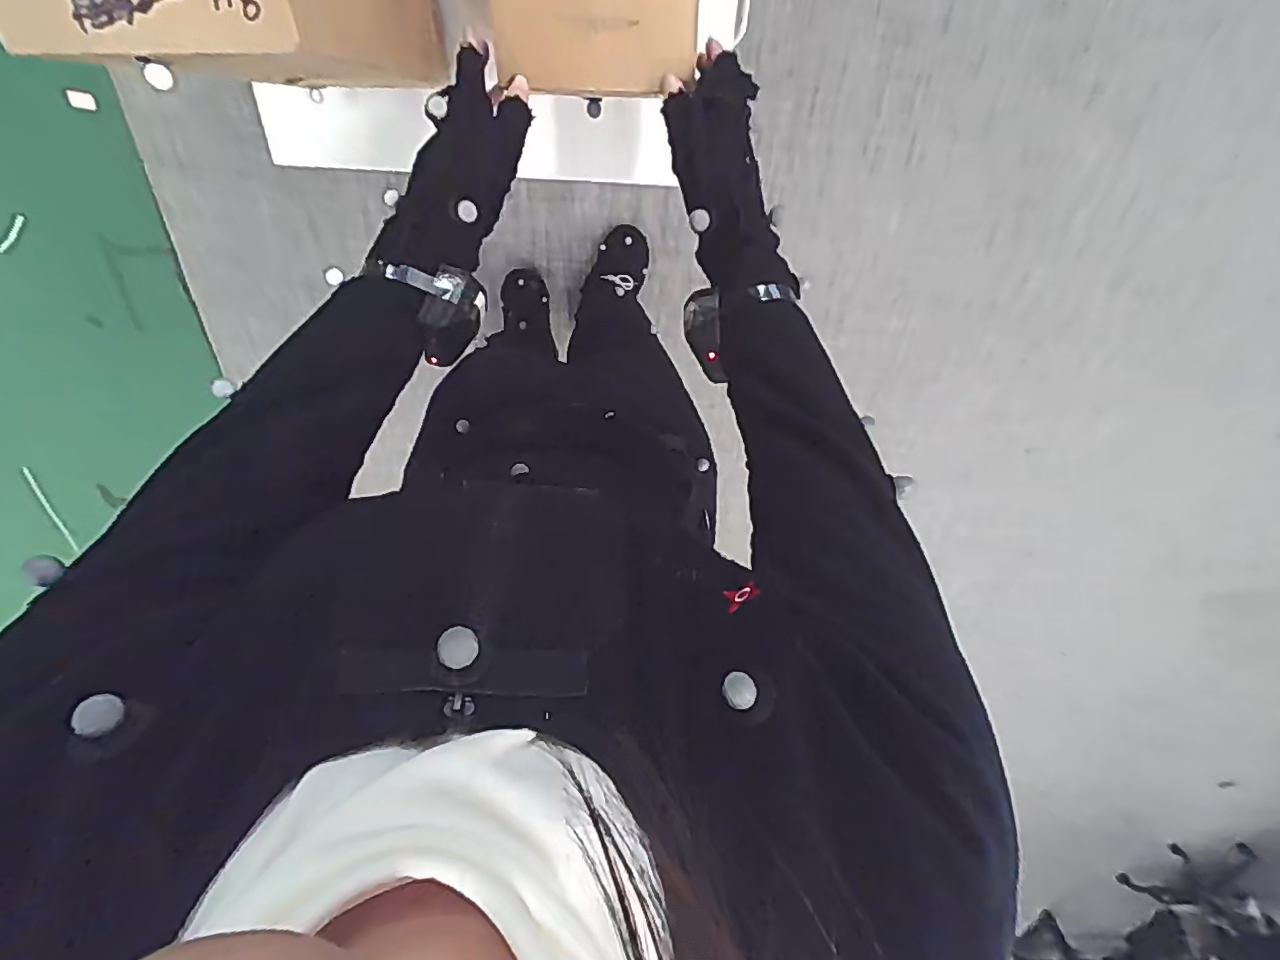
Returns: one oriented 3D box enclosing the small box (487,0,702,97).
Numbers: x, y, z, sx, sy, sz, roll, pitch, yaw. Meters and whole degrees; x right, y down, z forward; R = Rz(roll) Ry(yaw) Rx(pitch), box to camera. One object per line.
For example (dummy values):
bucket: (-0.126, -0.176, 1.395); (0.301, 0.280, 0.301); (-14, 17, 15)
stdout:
small box: (-0.034, -0.434, 0.457); (0.168, 0.176, 0.179); (1, 125, 1)

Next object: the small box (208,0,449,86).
small box: (-0.279, -0.448, 0.462); (0.168, 0.176, 0.179); (-1, 122, 0)

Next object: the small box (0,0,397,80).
small box: (-0.273, -0.359, 0.327); (0.168, 0.176, 0.179); (-1, 123, 0)
